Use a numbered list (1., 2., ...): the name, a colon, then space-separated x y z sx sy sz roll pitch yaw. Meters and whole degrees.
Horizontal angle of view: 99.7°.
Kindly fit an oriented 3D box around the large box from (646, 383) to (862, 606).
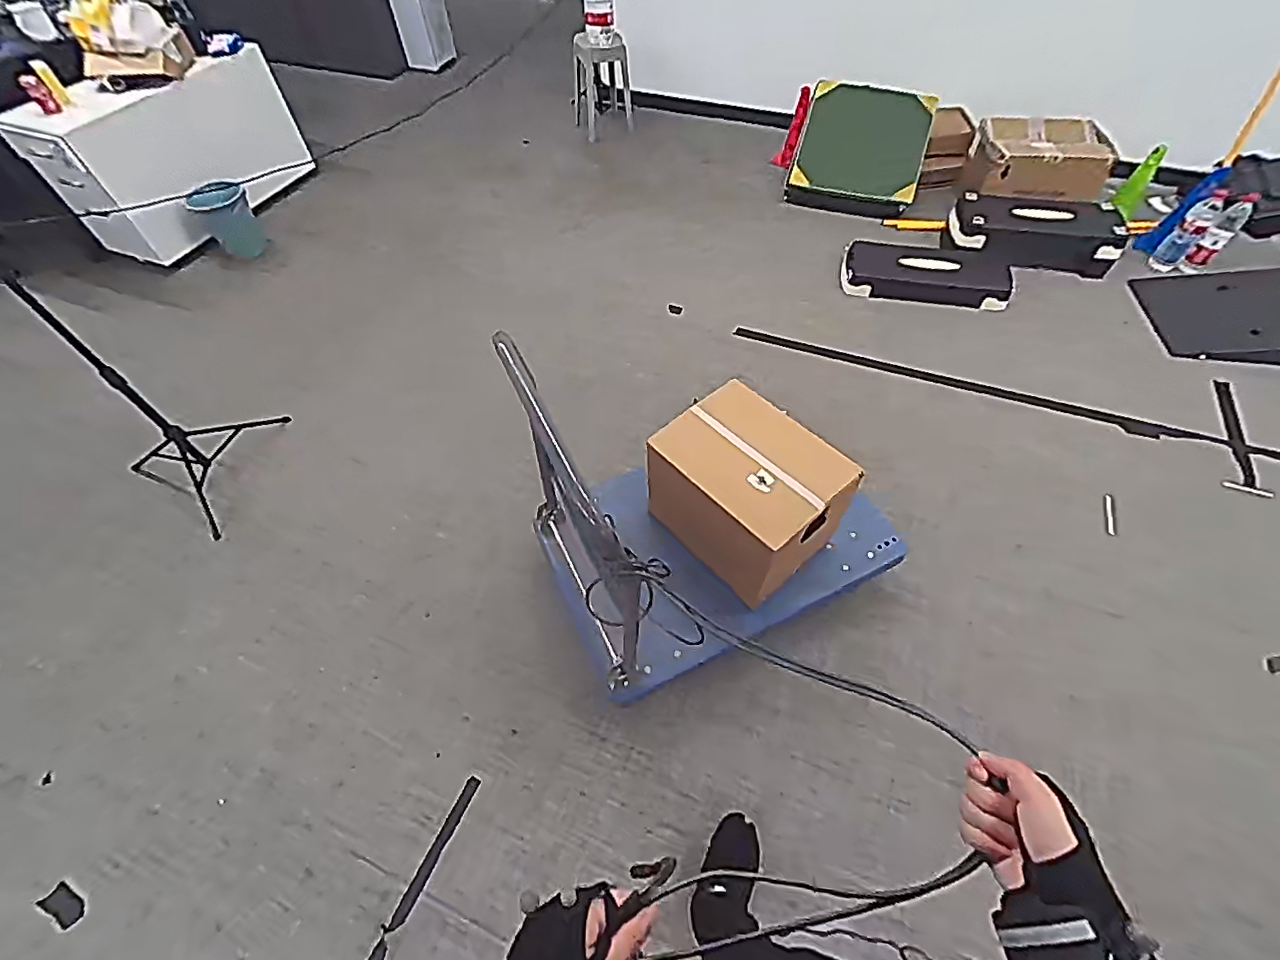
1. large box: 0.257 0.034 1.363 0.320 0.320 0.408 -37 62 -21
